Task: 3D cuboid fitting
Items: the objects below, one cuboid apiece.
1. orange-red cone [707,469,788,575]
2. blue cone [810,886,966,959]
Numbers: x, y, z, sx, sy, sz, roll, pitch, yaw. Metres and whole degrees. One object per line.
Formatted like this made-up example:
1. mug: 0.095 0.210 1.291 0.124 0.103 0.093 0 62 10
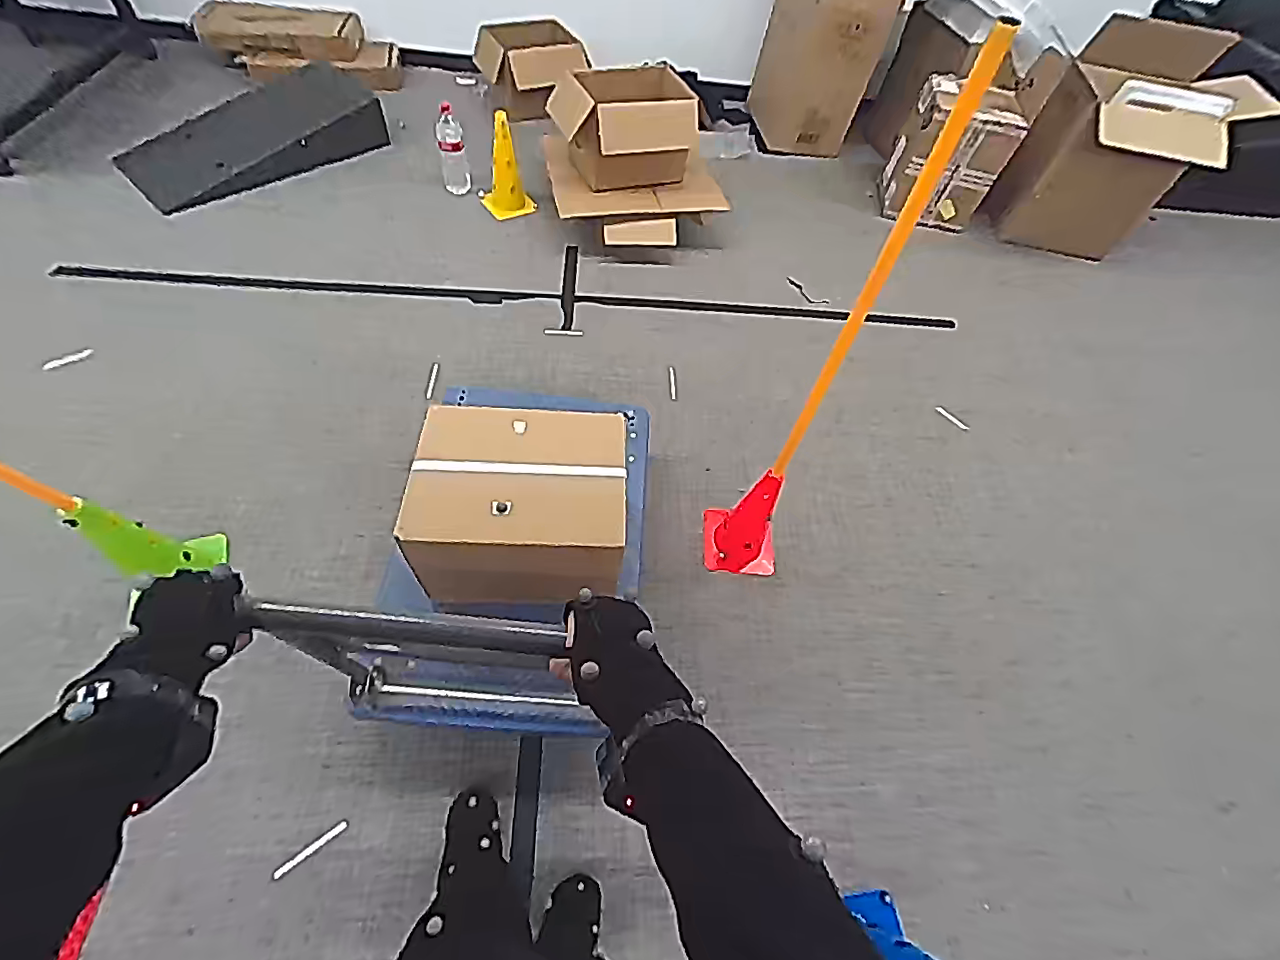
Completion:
1. orange-red cone: 0.313 0.083 1.417 0.199 0.360 0.198 8 57 -3
2. blue cone: 0.467 0.848 0.947 0.193 0.380 0.192 -1 56 -9
